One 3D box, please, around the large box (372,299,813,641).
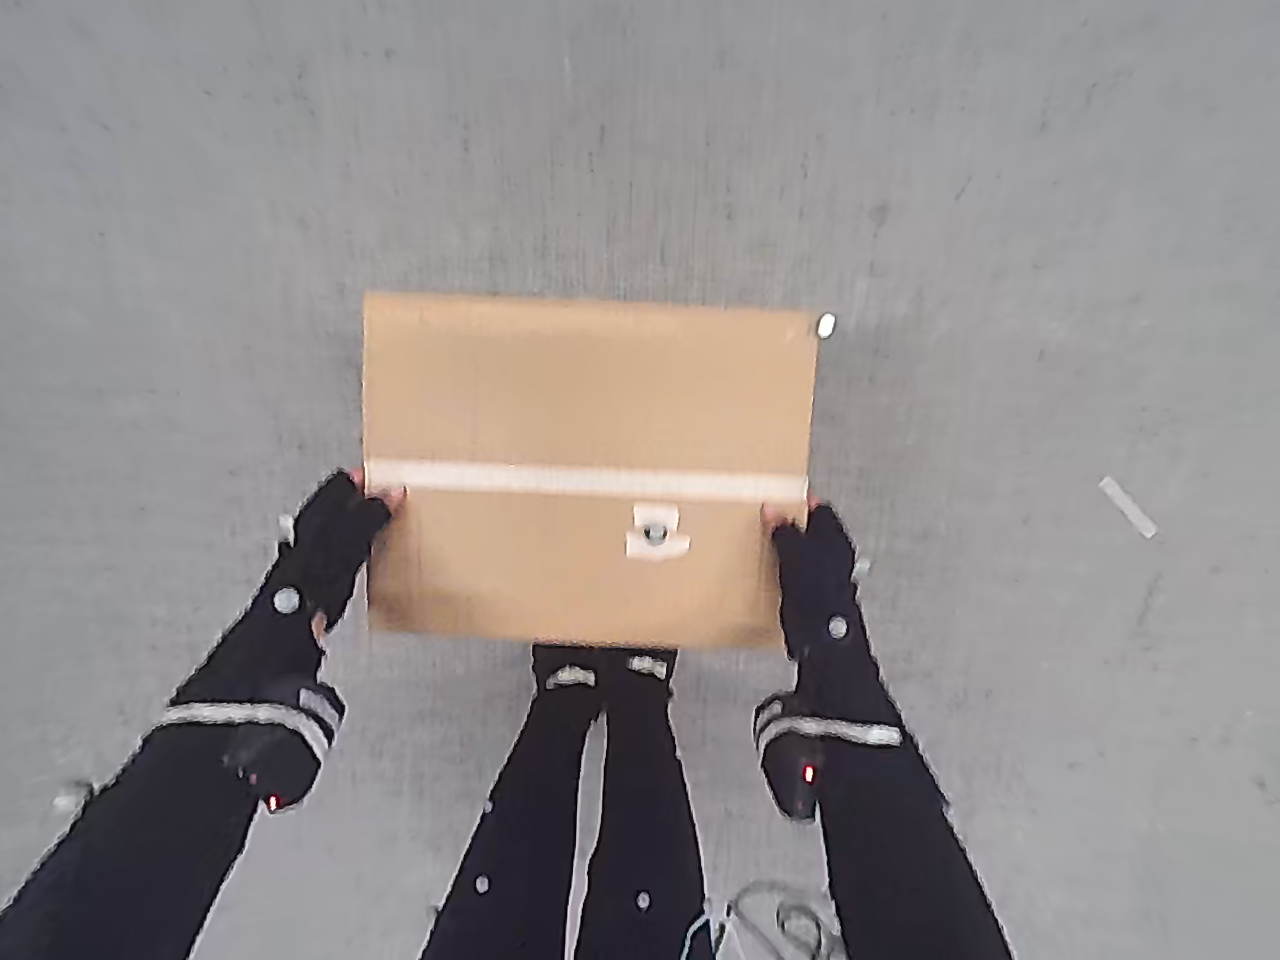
[{"bbox_3d":[-0.049,-0.018,0.647,0.408,0.320,0.320,2,97,-1],"label":"large box"}]
